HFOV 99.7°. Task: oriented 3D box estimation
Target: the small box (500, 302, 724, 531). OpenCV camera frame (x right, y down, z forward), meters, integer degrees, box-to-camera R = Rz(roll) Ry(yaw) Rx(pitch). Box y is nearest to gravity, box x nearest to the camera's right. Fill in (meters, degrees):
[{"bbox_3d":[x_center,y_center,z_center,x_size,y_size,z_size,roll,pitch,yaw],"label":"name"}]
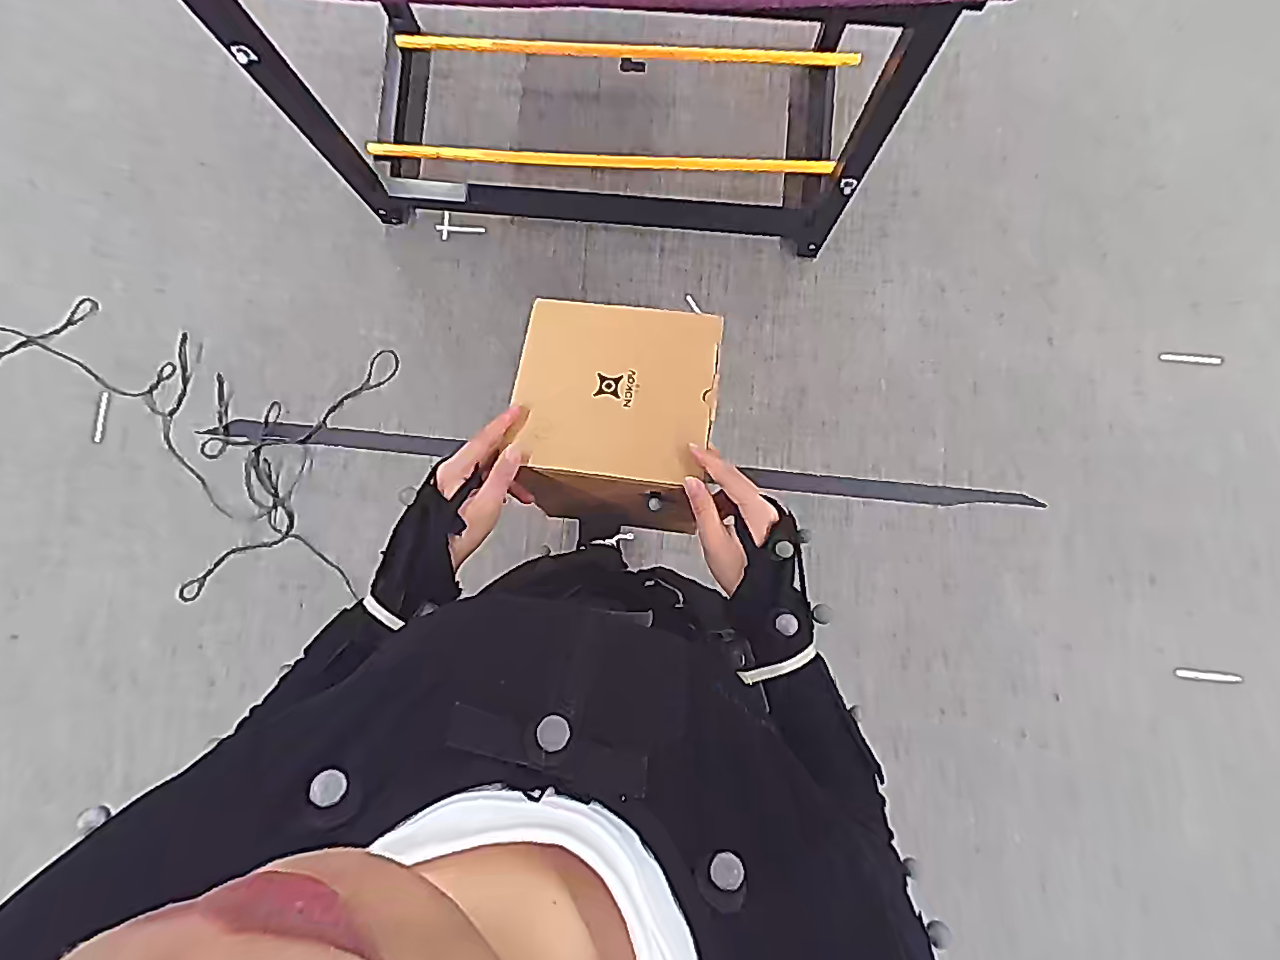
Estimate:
[{"bbox_3d":[-0.017,-0.053,0.544,0.179,0.176,0.168,7,71,5],"label":"small box"}]
